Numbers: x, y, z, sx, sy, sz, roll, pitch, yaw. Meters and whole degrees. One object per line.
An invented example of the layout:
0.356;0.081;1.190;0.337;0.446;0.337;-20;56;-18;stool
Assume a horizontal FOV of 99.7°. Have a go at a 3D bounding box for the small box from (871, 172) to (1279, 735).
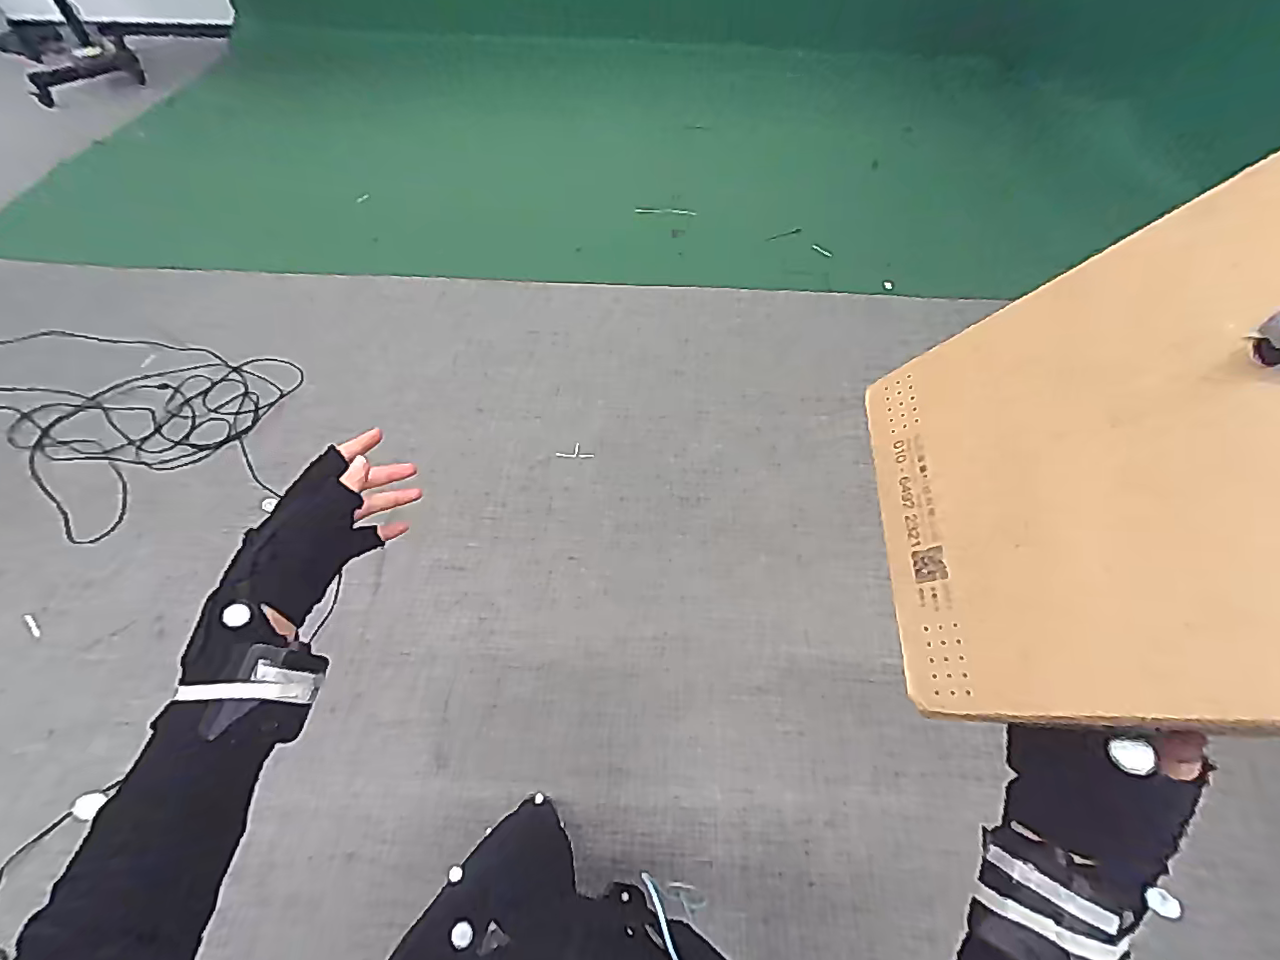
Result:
0.230;0.016;0.231;0.179;0.176;0.168;16;63;-26;small box
